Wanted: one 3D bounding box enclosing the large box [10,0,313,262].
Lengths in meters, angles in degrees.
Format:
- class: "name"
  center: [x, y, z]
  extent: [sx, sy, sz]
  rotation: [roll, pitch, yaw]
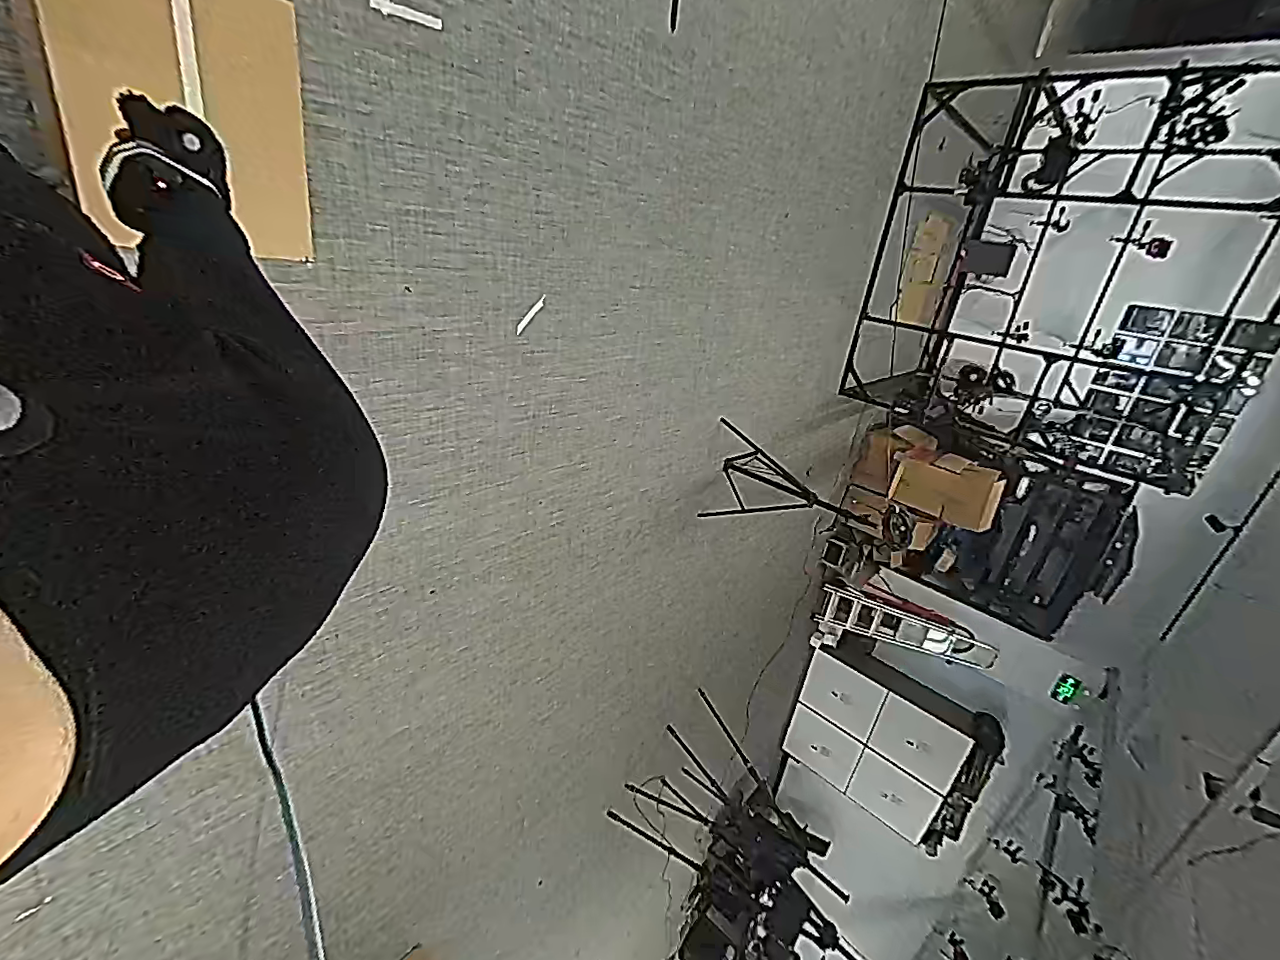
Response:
- class: "large box"
  center: [-0.820, -0.630, 0.950]
  extent: [0.320, 0.320, 0.408]
  rotation: [-17, 125, -47]
